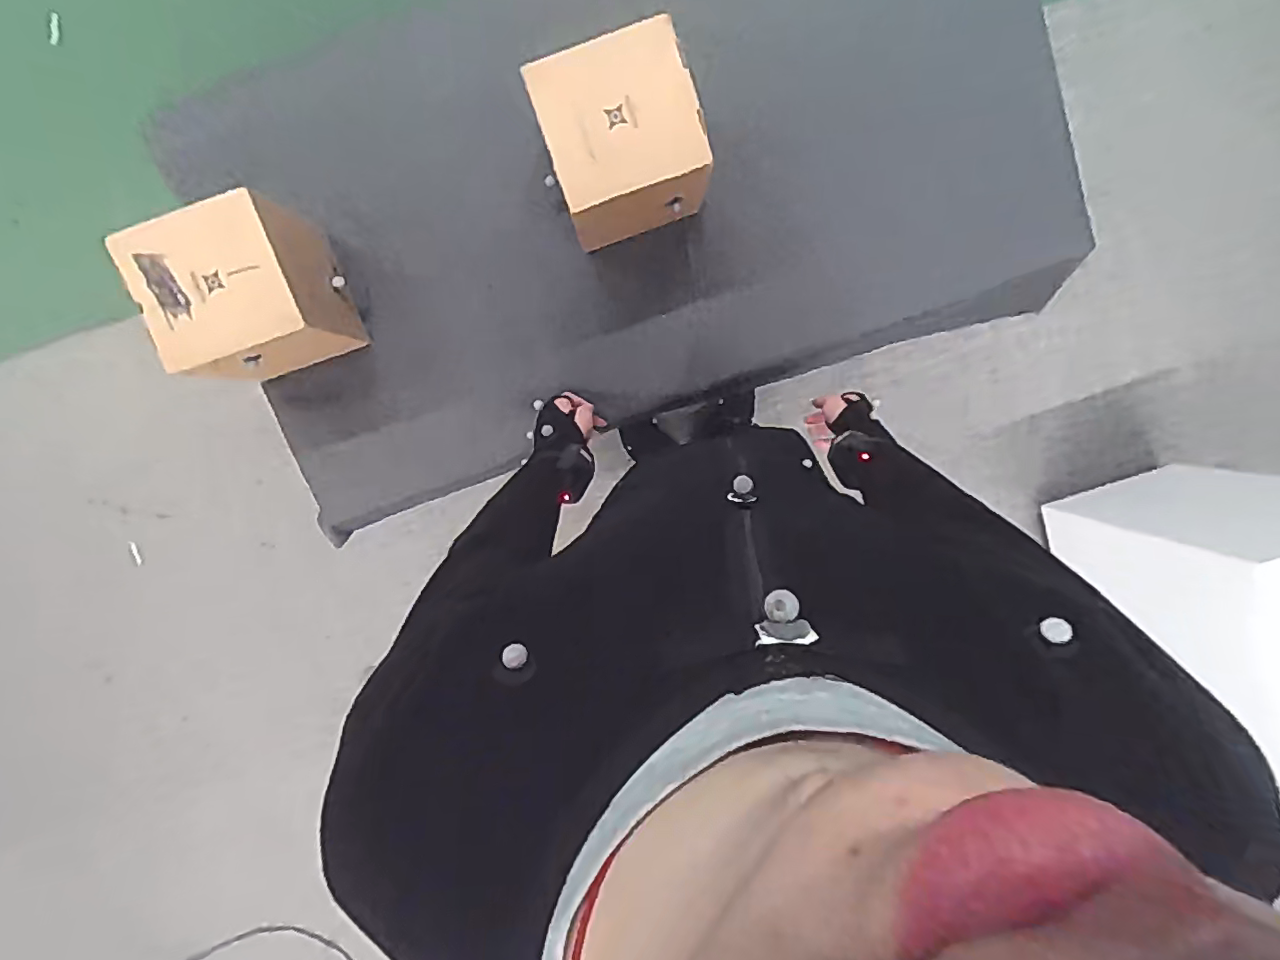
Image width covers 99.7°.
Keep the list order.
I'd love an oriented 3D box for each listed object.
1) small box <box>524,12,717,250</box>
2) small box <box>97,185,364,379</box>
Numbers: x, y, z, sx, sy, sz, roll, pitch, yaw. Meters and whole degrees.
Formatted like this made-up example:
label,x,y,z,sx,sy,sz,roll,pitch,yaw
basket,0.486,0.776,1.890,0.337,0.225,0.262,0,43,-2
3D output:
label,x,y,z,sx,sy,sz,roll,pitch,yaw
small box,-0.022,-0.414,0.674,0.179,0.176,0.168,-20,98,2
small box,-0.493,-0.231,0.682,0.179,0.176,0.168,-20,100,0
